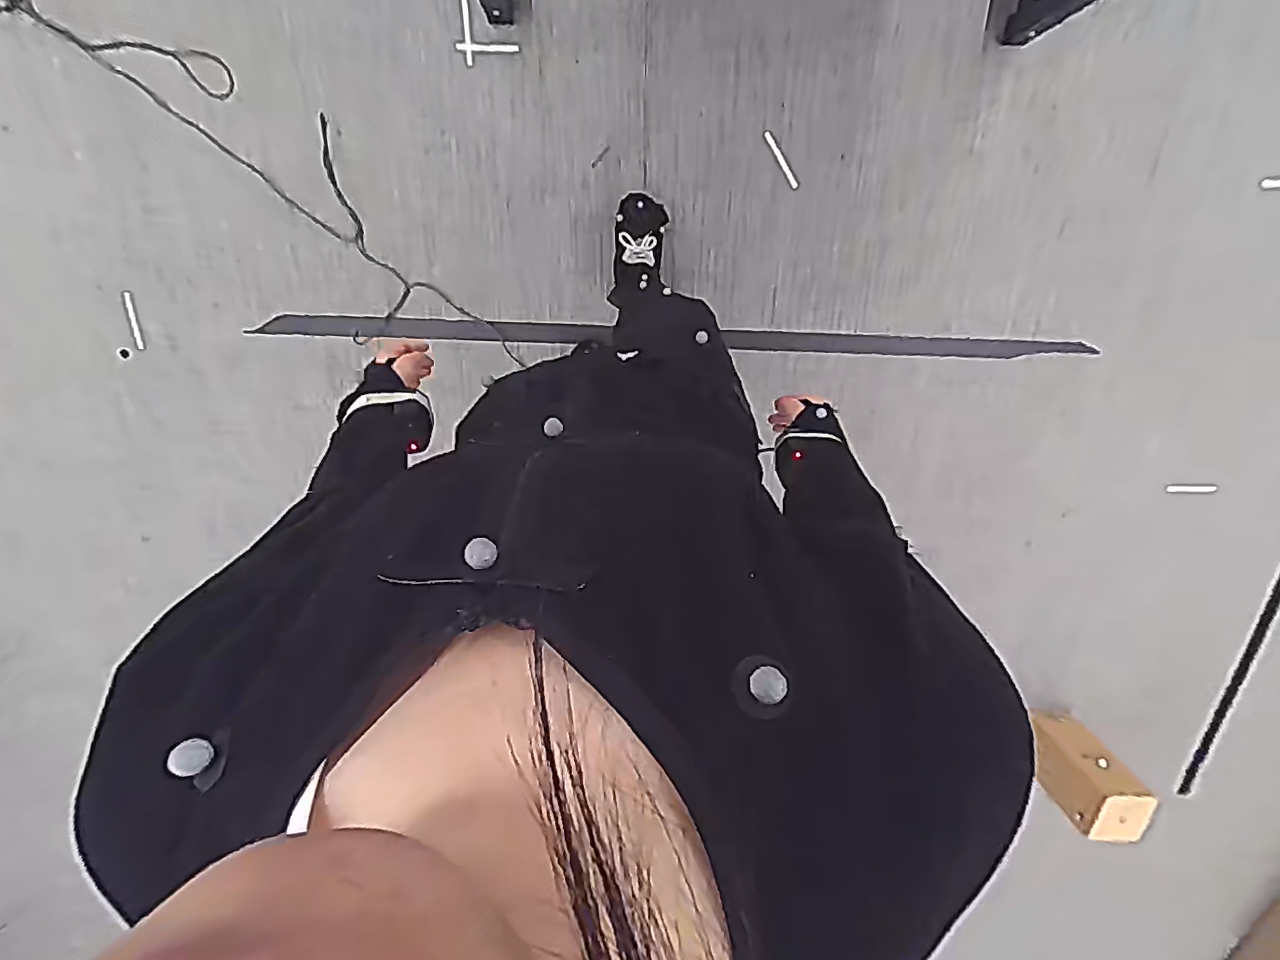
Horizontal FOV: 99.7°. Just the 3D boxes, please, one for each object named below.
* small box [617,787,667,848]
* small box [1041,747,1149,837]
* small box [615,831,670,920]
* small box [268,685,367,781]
[{"bbox_3d":[0.006,1.198,1.883,0.168,0.176,0.179,-3,111,0],"label":"small box"},{"bbox_3d":[1.397,0.966,1.678,0.168,0.176,0.179,4,109,-4],"label":"small box"},{"bbox_3d":[0.006,1.254,1.728,0.168,0.176,0.179,-3,110,-1],"label":"small box"},{"bbox_3d":[-1.000,0.787,1.693,0.179,0.176,0.168,-43,105,12],"label":"small box"}]
